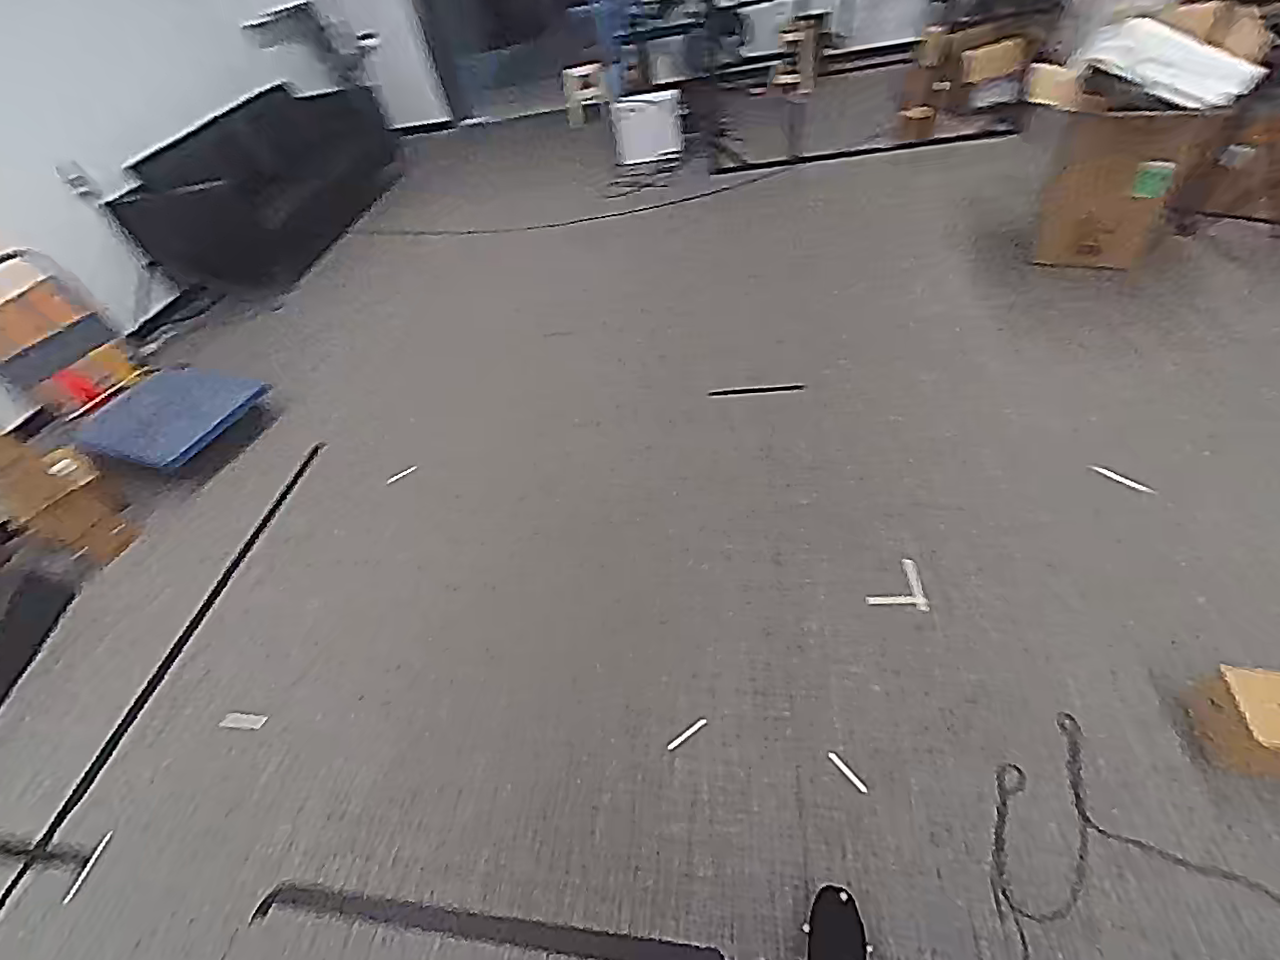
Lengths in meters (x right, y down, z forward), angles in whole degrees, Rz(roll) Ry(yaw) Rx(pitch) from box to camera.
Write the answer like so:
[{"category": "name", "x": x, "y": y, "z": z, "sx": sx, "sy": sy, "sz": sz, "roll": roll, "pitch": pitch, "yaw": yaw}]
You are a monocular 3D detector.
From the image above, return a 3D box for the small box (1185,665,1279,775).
[{"category": "small box", "x": 1.345, "y": 0.523, "z": 1.171, "sx": 0.179, "sy": 0.176, "sz": 0.168, "roll": 2, "pitch": 48, "yaw": 15}]
